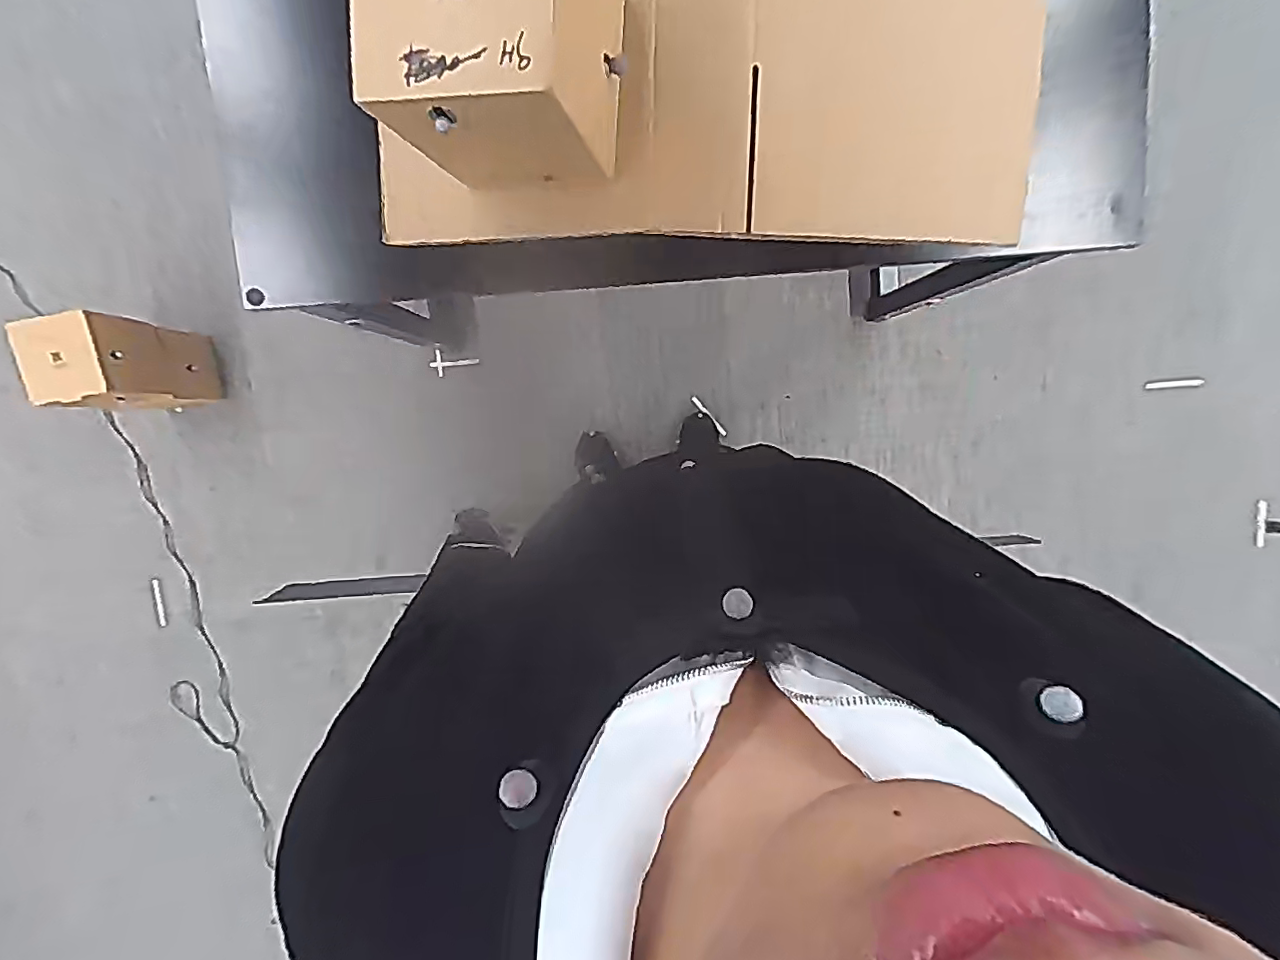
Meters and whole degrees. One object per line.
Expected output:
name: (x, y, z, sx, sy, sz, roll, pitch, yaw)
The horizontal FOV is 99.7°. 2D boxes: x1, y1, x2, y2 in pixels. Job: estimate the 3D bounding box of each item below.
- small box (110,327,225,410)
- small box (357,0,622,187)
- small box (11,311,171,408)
small box: (-1.205, -0.275, 1.367, 0.168, 0.176, 0.179, -8, 98, 0)
small box: (-0.116, -0.383, 0.472, 0.168, 0.176, 0.179, 5, 97, 12)
small box: (-1.206, -0.261, 1.205, 0.168, 0.176, 0.179, -12, 96, 0)
